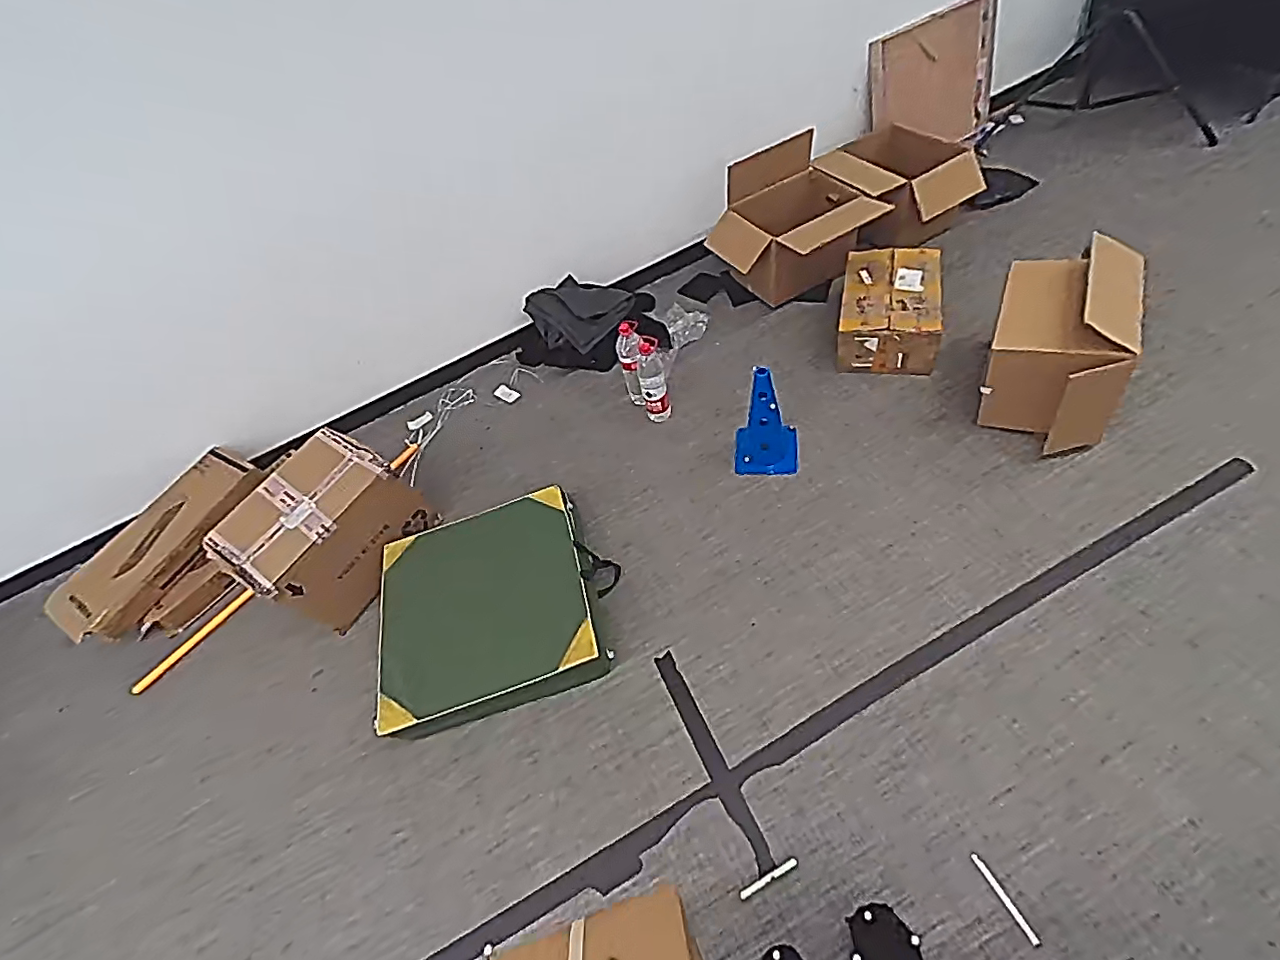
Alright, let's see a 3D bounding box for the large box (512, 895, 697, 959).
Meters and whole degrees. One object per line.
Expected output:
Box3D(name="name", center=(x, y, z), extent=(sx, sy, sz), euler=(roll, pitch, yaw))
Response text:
Box3D(name="large box", center=(-0.027, 0.821, 0.621), extent=(0.320, 0.408, 0.320), euler=(-20, 89, -3))
